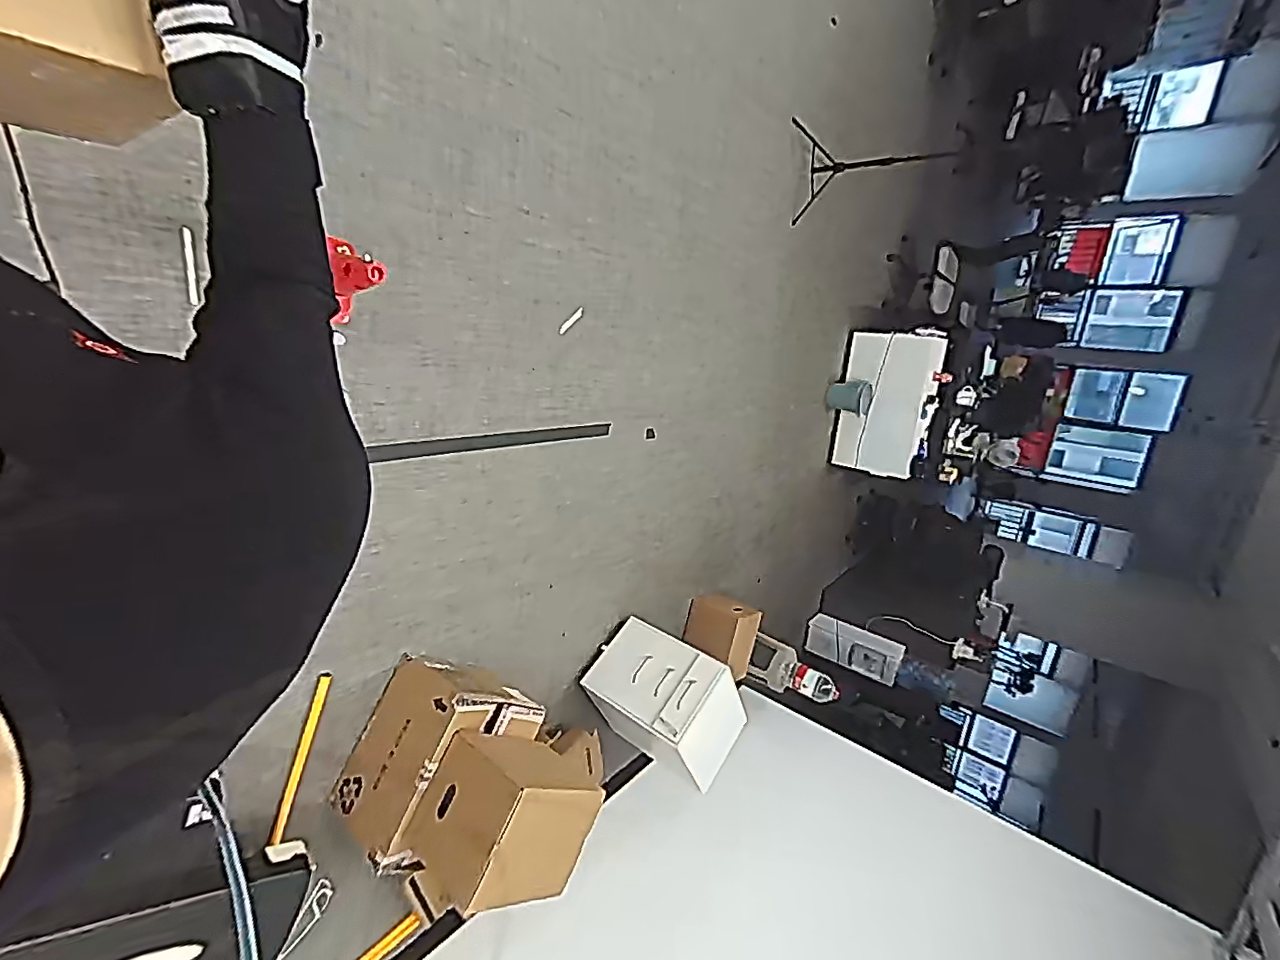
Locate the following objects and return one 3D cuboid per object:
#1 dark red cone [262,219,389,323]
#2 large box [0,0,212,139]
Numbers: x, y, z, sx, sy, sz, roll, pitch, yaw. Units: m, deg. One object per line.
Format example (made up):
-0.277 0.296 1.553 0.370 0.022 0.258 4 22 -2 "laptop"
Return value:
-0.648 -0.444 1.170 0.201 0.394 0.202 -3 105 -50 "dark red cone"
-0.538 -0.420 0.277 0.408 0.320 0.320 -18 118 -50 "large box"
